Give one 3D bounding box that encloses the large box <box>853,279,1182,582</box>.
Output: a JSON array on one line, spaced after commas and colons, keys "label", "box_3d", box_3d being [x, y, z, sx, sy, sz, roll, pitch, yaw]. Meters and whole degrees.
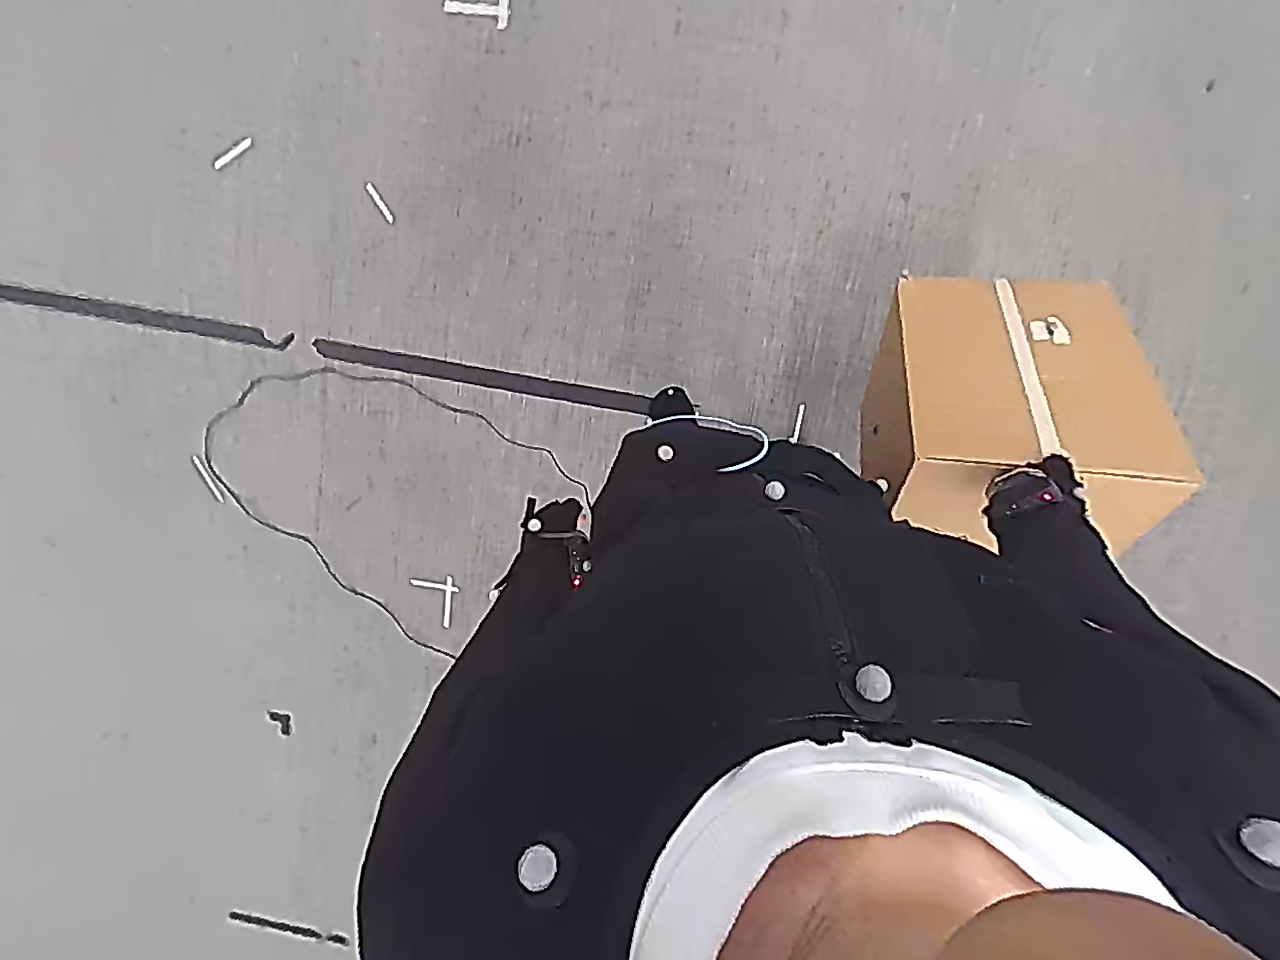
[{"label": "large box", "box_3d": [0.555, -0.084, 0.909, 0.320, 0.408, 0.320, 6, 143, 10]}]
